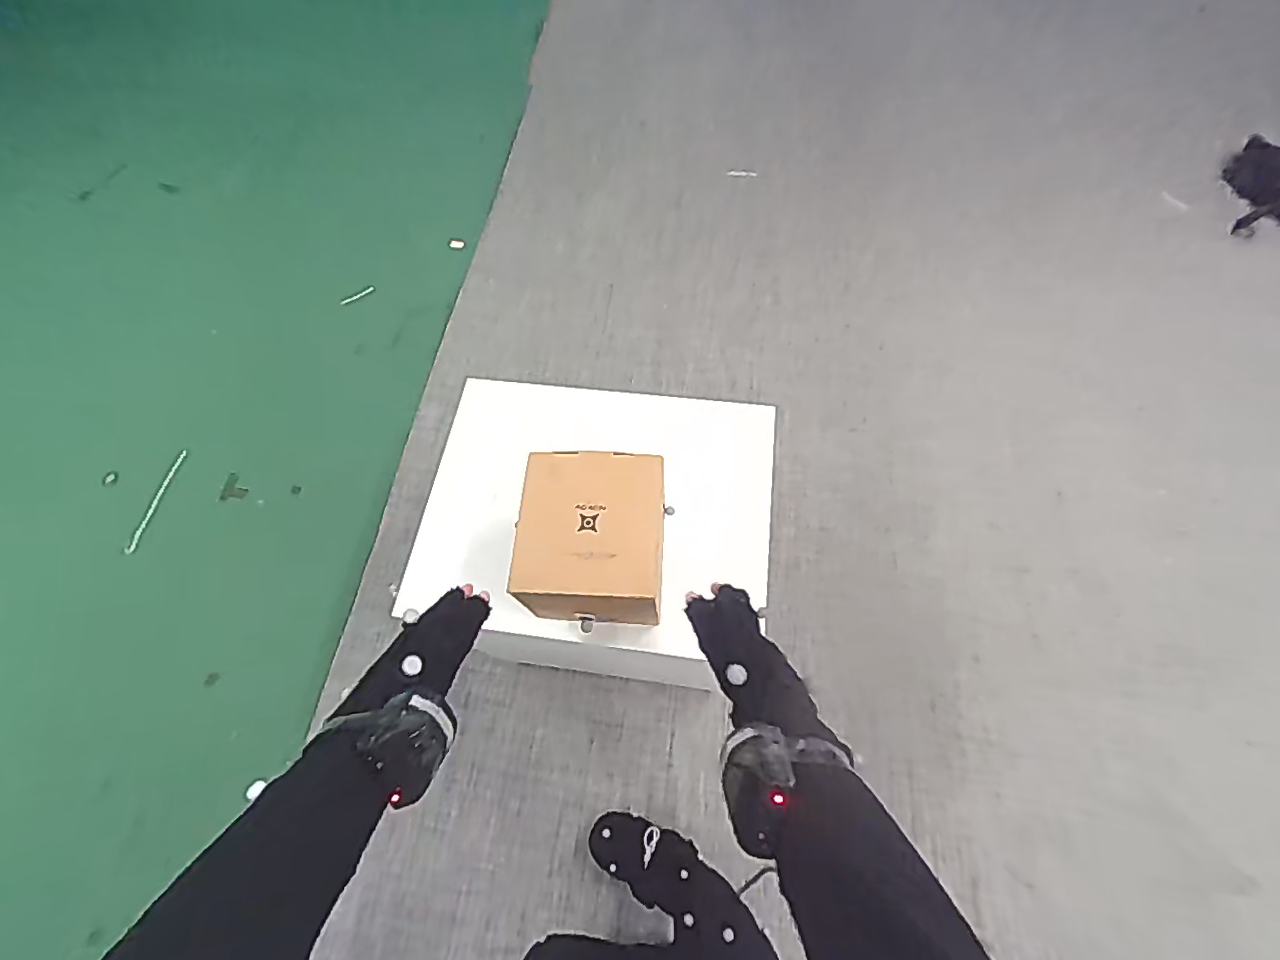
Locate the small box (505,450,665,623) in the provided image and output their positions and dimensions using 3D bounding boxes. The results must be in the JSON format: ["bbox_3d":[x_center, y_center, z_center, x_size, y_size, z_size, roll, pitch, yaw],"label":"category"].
[{"bbox_3d":[-0.055,0.076,0.685,0.168,0.176,0.179,0,67,6],"label":"small box"}]
